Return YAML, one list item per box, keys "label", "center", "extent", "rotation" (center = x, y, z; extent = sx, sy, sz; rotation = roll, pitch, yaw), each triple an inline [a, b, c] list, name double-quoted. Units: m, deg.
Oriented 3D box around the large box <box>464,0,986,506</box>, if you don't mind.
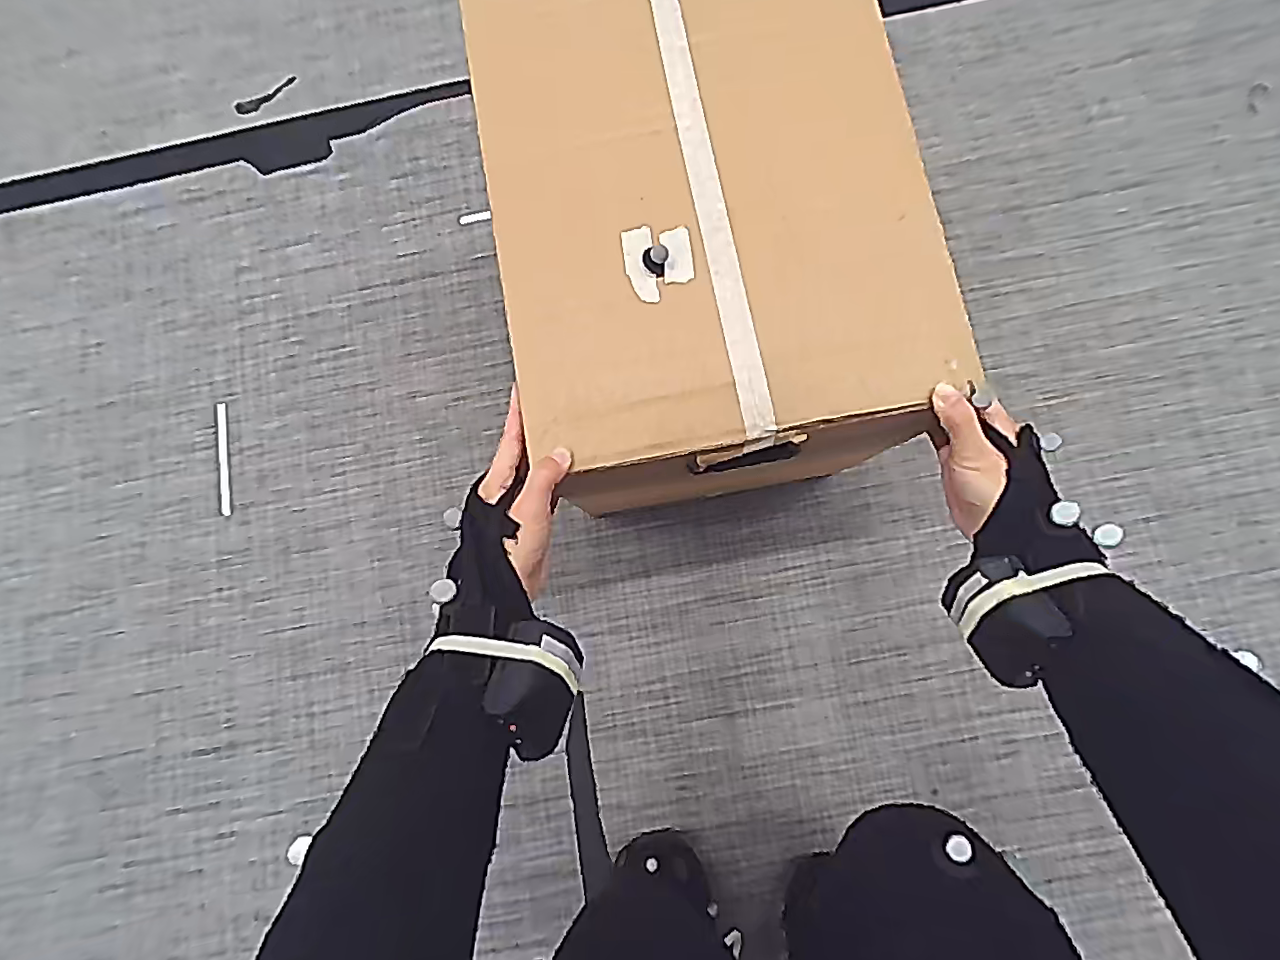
- label: "large box"
  center: [0.053, -0.208, 0.545]
  extent: [0.320, 0.320, 0.408]
  rotation: [-11, 82, 1]
